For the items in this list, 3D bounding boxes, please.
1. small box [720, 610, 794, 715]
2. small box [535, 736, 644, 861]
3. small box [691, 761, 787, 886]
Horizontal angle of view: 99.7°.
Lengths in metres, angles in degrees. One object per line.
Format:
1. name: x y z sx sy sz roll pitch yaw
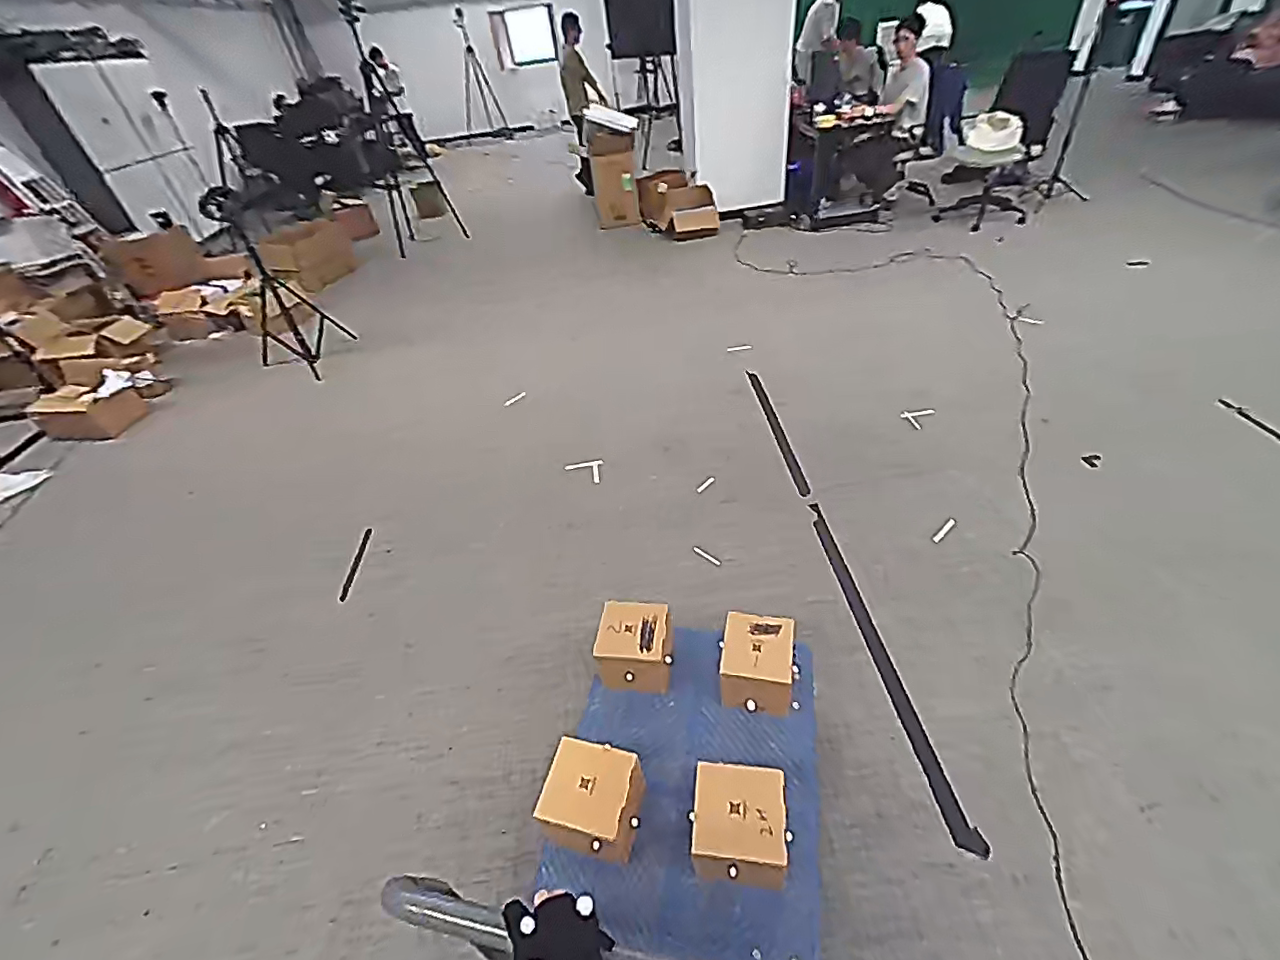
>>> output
1. small box: 0.294 0.456 1.357 0.168 0.176 0.179 4 43 15
2. small box: -0.099 0.686 1.164 0.179 0.176 0.168 6 42 15
3. small box: 0.202 0.696 1.095 0.179 0.176 0.168 0 41 11
